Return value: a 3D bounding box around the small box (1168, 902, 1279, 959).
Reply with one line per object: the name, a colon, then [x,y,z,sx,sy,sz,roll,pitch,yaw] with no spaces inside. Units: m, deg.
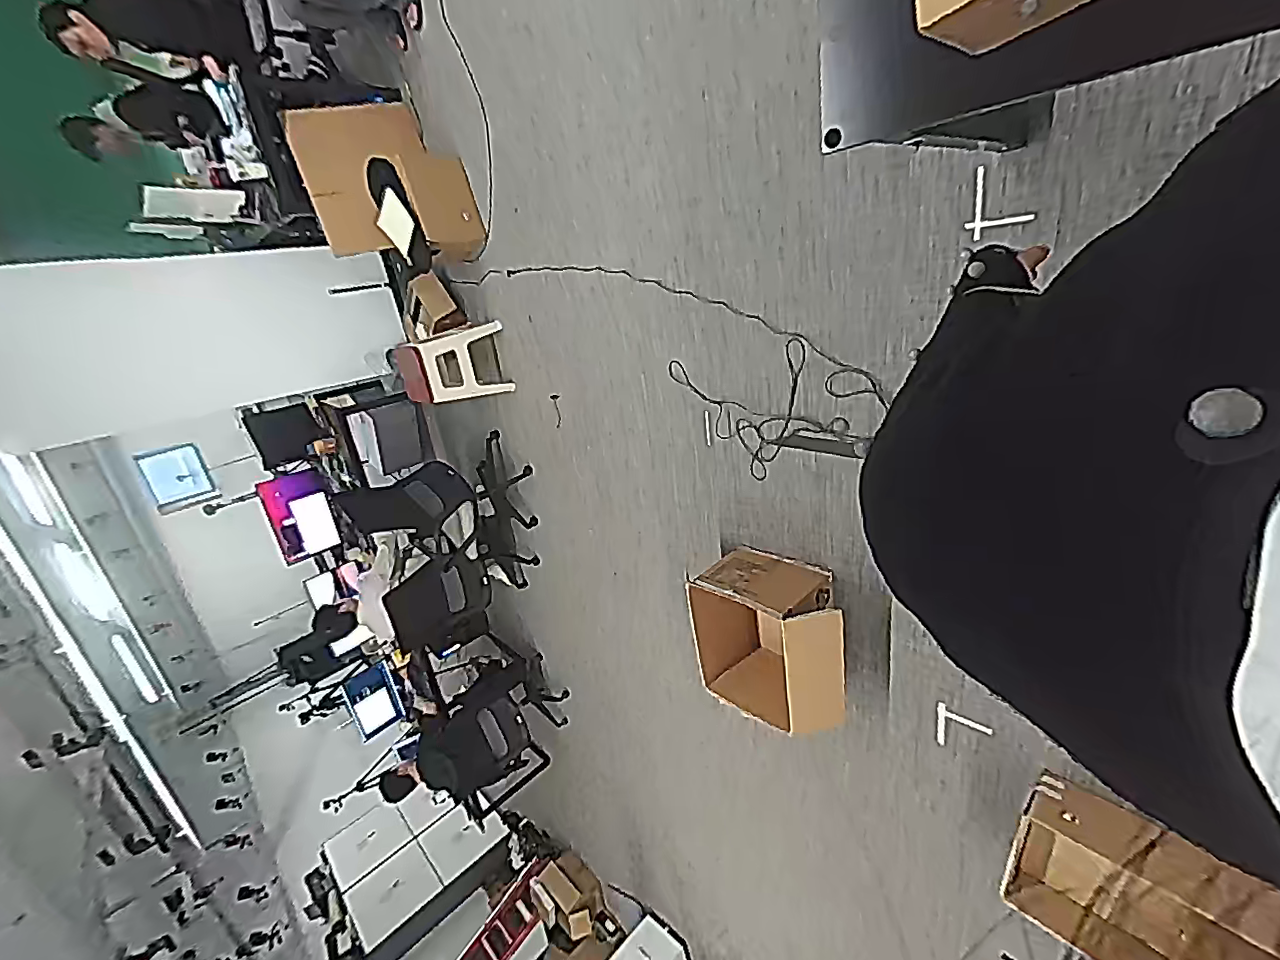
small box: [1.423,1.193,1.310,0.179,0.176,0.168,20,122,44]
